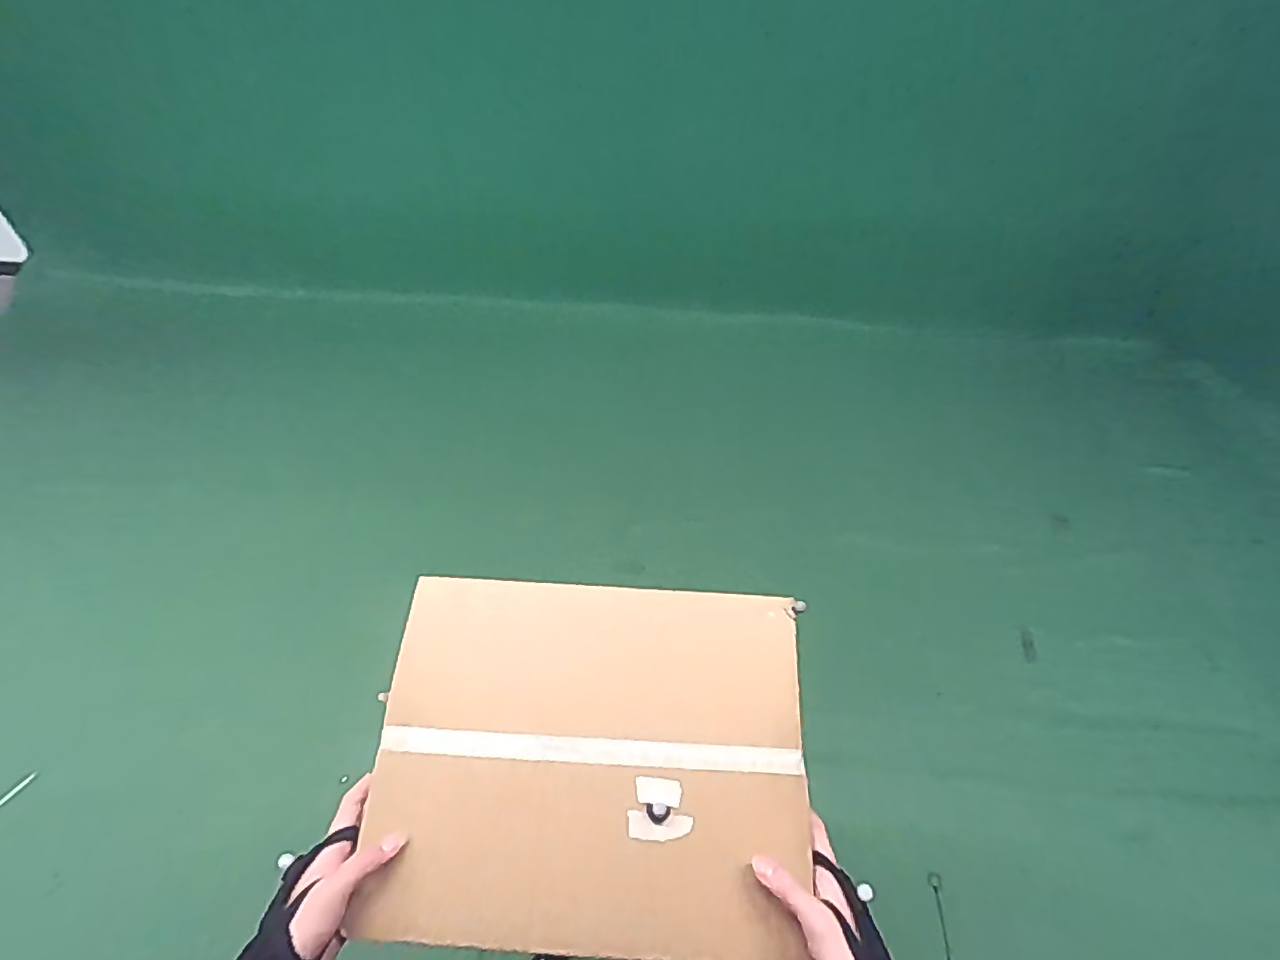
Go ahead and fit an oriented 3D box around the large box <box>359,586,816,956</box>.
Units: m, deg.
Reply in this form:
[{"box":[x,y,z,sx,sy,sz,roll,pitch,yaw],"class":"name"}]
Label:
[{"box":[-0.045,0.324,0.660,0.408,0.320,0.320,3,66,0],"class":"large box"}]
